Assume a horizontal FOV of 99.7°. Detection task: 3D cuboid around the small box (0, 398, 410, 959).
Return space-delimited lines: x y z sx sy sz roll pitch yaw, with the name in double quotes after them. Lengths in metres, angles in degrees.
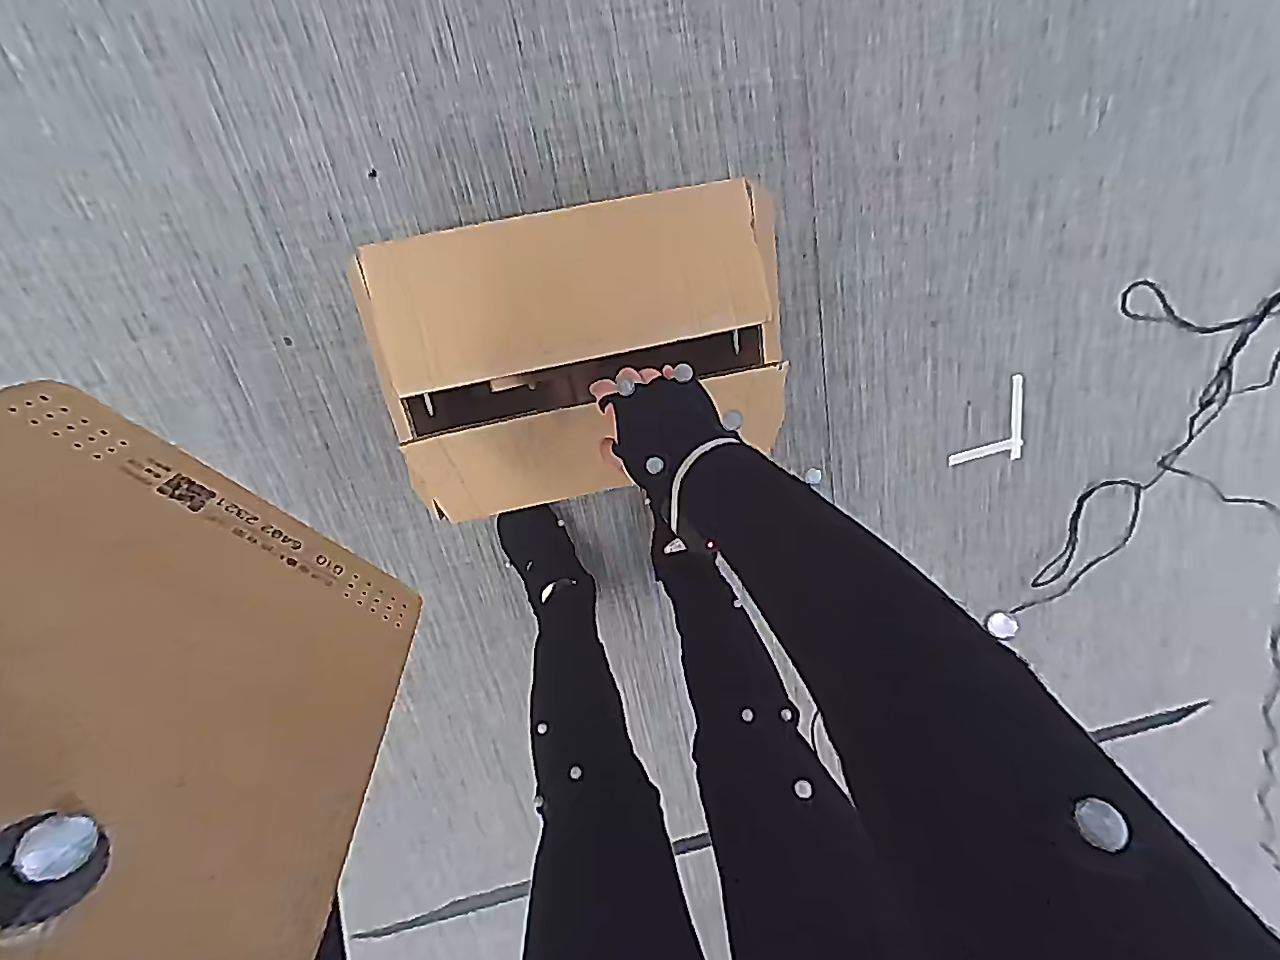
-0.207 0.103 0.184 0.179 0.176 0.168 -43 116 11 "small box"
